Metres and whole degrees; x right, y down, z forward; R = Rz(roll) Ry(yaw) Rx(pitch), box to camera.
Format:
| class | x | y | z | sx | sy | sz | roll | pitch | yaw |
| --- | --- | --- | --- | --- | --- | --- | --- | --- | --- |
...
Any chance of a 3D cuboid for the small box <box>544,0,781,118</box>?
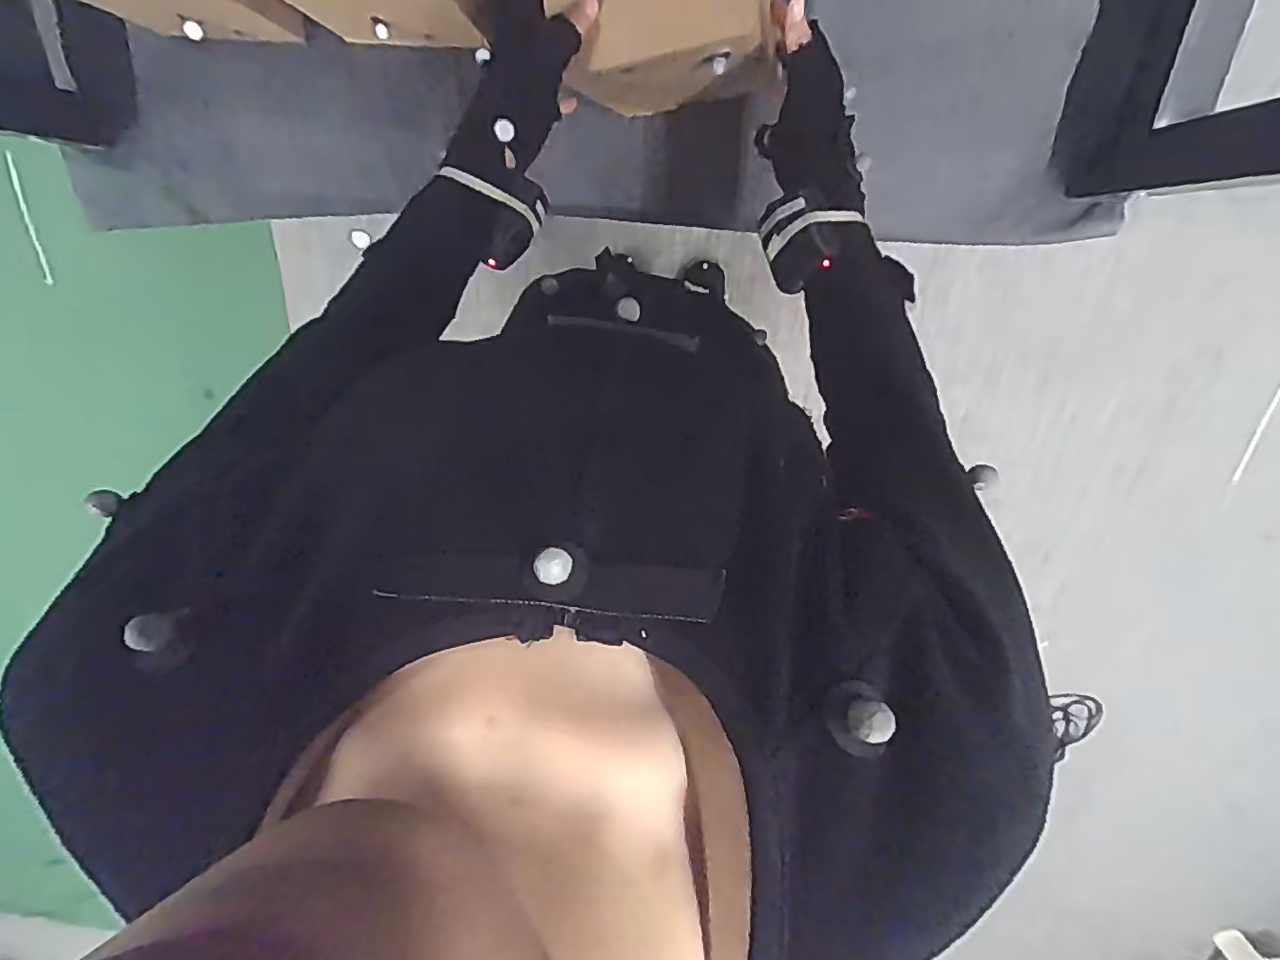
| class | x | y | z | sx | sy | sz | roll | pitch | yaw |
| --- | --- | --- | --- | --- | --- | --- | --- | --- | --- |
| small box | 0.022 | -0.435 | 0.453 | 0.168 | 0.176 | 0.179 | 2 | 114 | 21 |
